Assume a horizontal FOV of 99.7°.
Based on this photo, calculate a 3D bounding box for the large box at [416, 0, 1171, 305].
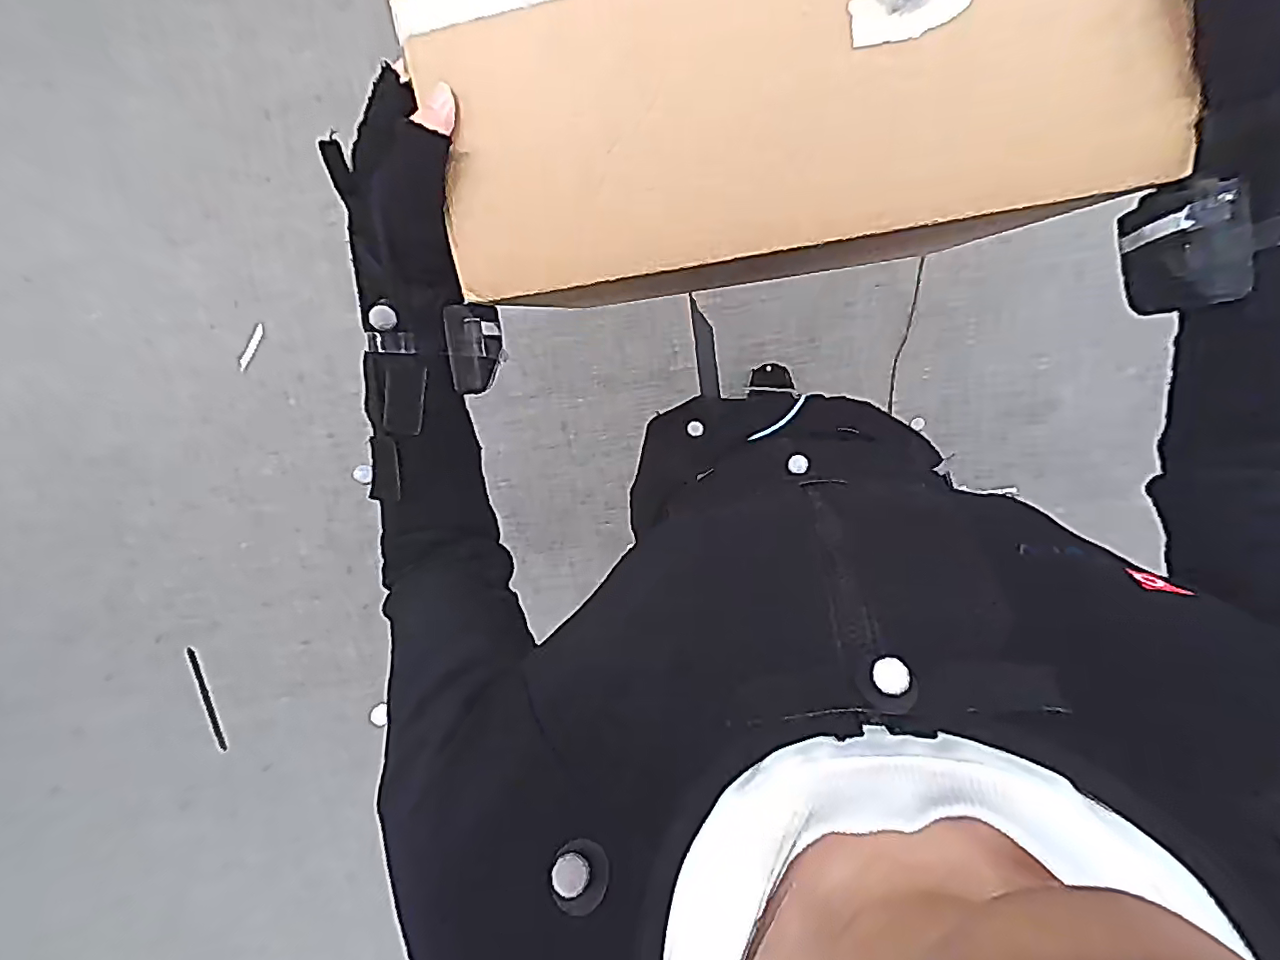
[{"bbox_3d":[0.080,-0.336,0.429,0.408,0.320,0.320,-7,106,9],"label":"large box"}]
